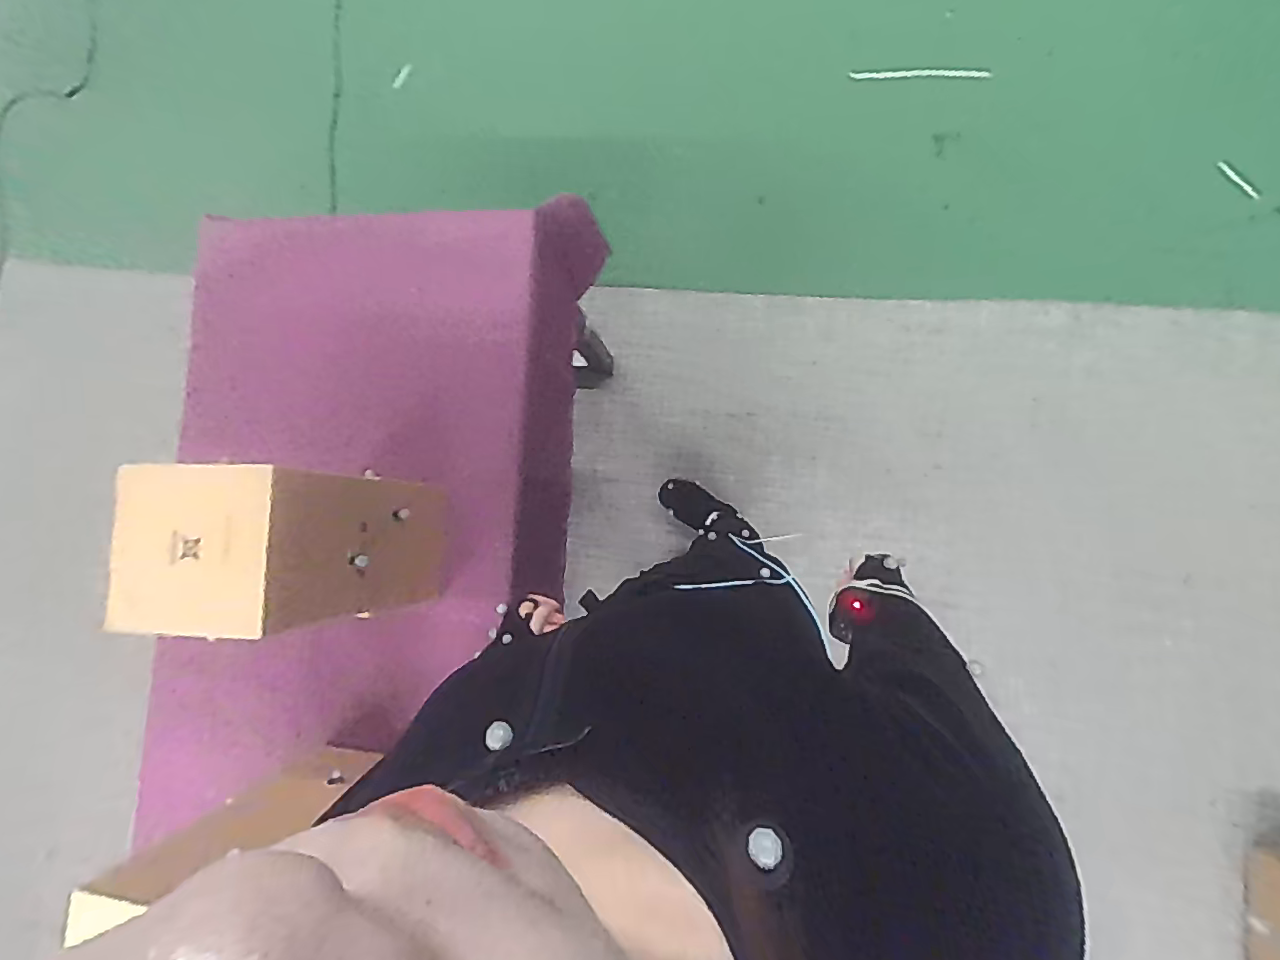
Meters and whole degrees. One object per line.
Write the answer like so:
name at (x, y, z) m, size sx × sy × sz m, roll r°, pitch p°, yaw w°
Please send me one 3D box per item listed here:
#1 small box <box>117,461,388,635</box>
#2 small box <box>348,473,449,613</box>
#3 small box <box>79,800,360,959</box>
small box at (-0.417, 0.071, 0.607) m, size 0.179 × 0.176 × 0.168 m, roll 1°, pitch 86°, yaw 8°
small box at (-0.389, 0.084, 0.768) m, size 0.168 × 0.176 × 0.179 m, roll 2°, pitch 85°, yaw 10°
small box at (-0.431, 0.471, 0.574) m, size 0.179 × 0.176 × 0.168 m, roll 4°, pitch 85°, yaw 9°
